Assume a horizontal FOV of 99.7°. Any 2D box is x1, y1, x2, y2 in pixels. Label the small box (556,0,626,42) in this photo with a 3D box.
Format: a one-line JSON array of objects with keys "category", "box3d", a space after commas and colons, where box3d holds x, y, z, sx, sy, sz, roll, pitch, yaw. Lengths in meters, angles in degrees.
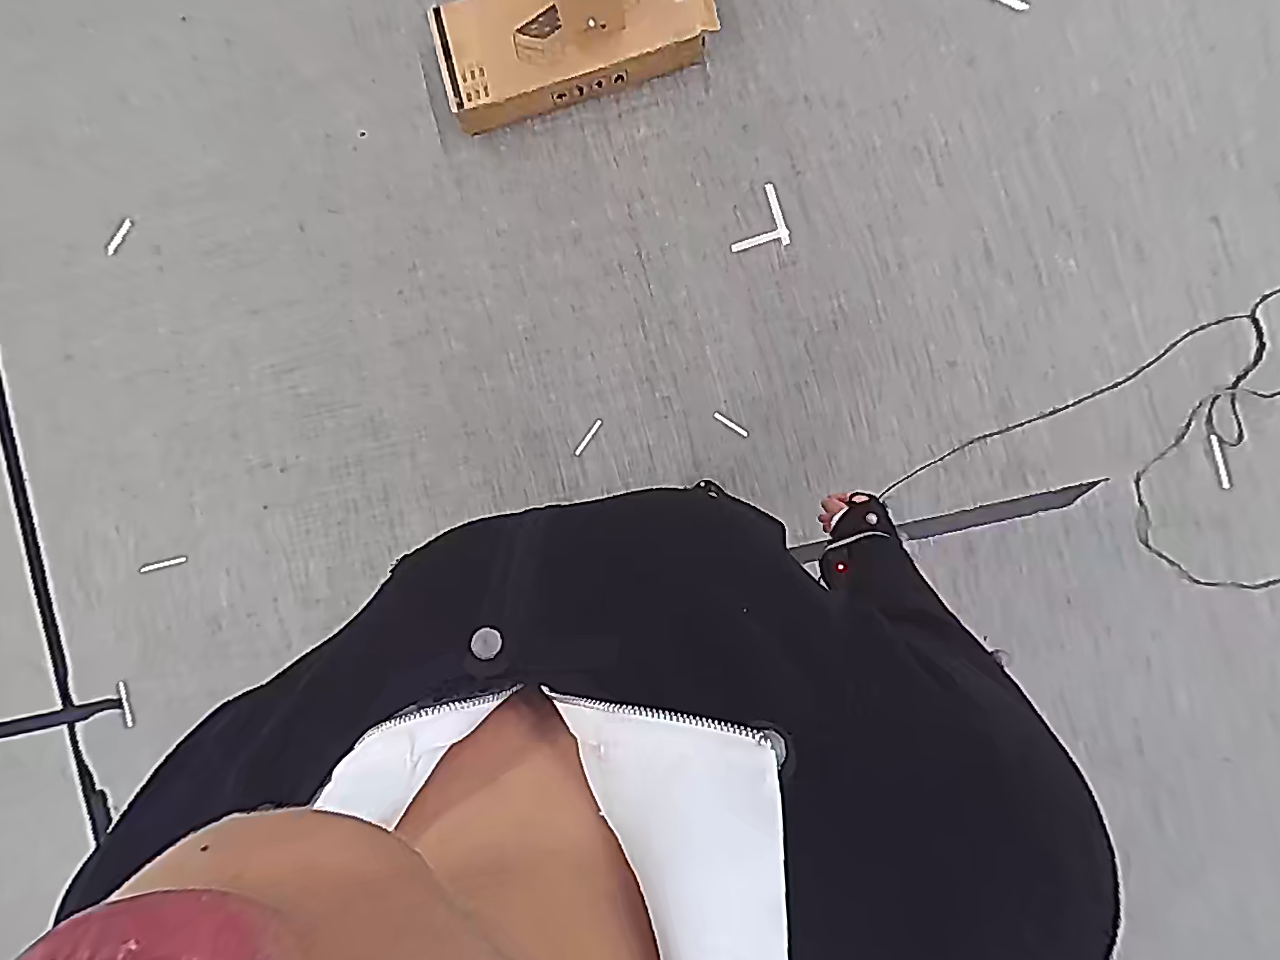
[{"category": "small box", "box3d": [-0.135, -1.250, 1.338, 0.168, 0.176, 0.179, -11, 89, 6]}]
